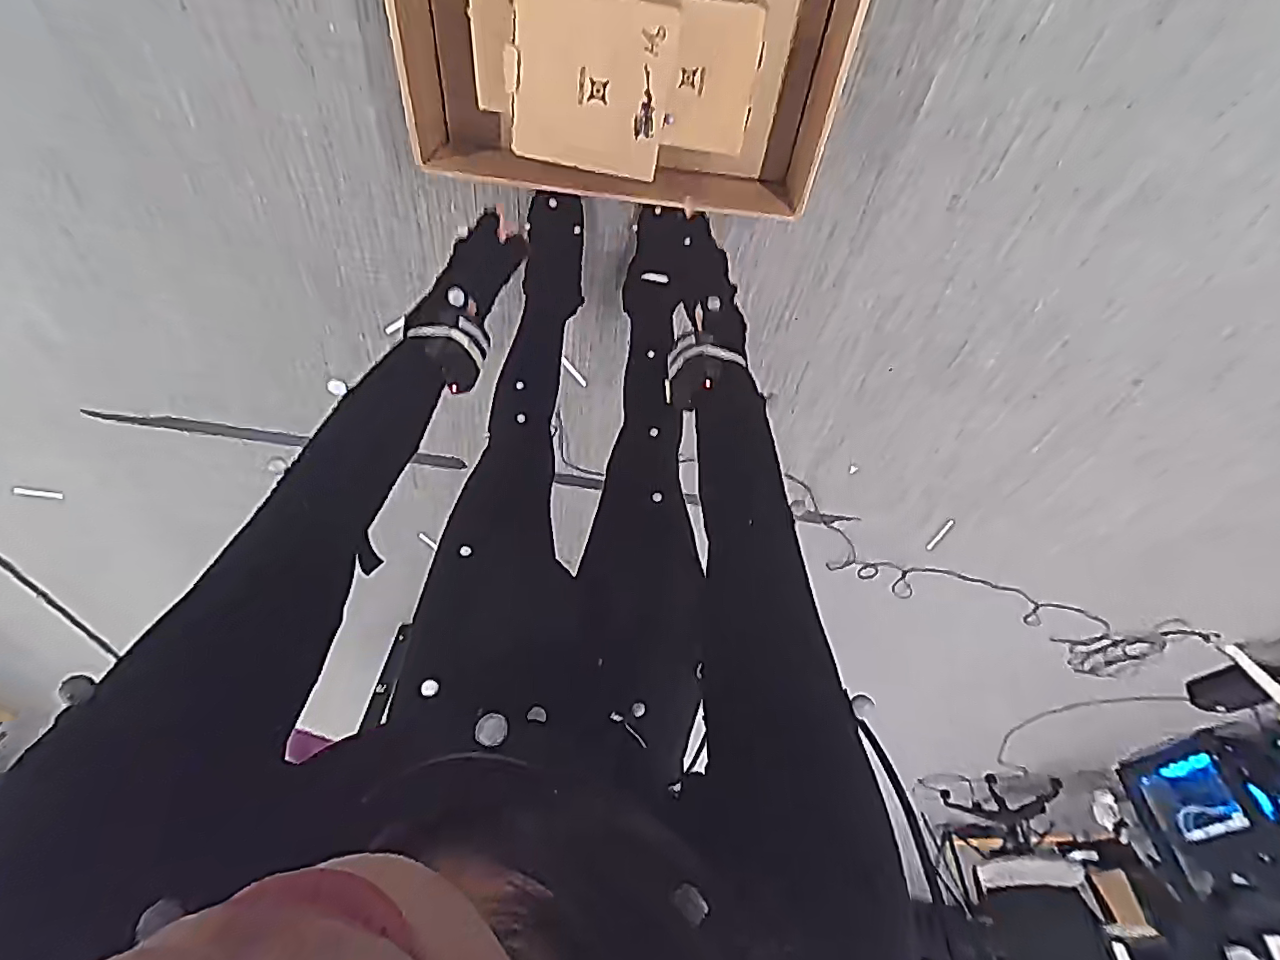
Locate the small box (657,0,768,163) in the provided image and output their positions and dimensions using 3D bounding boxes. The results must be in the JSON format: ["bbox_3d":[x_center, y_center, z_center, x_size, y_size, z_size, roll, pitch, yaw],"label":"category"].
[{"bbox_3d":[0.074,-0.587,0.788,0.179,0.176,0.168,8,134,0],"label":"small box"}]

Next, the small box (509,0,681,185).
[{"bbox_3d":[-0.053,-0.491,0.661,0.179,0.176,0.168,10,135,-5],"label":"small box"}]
